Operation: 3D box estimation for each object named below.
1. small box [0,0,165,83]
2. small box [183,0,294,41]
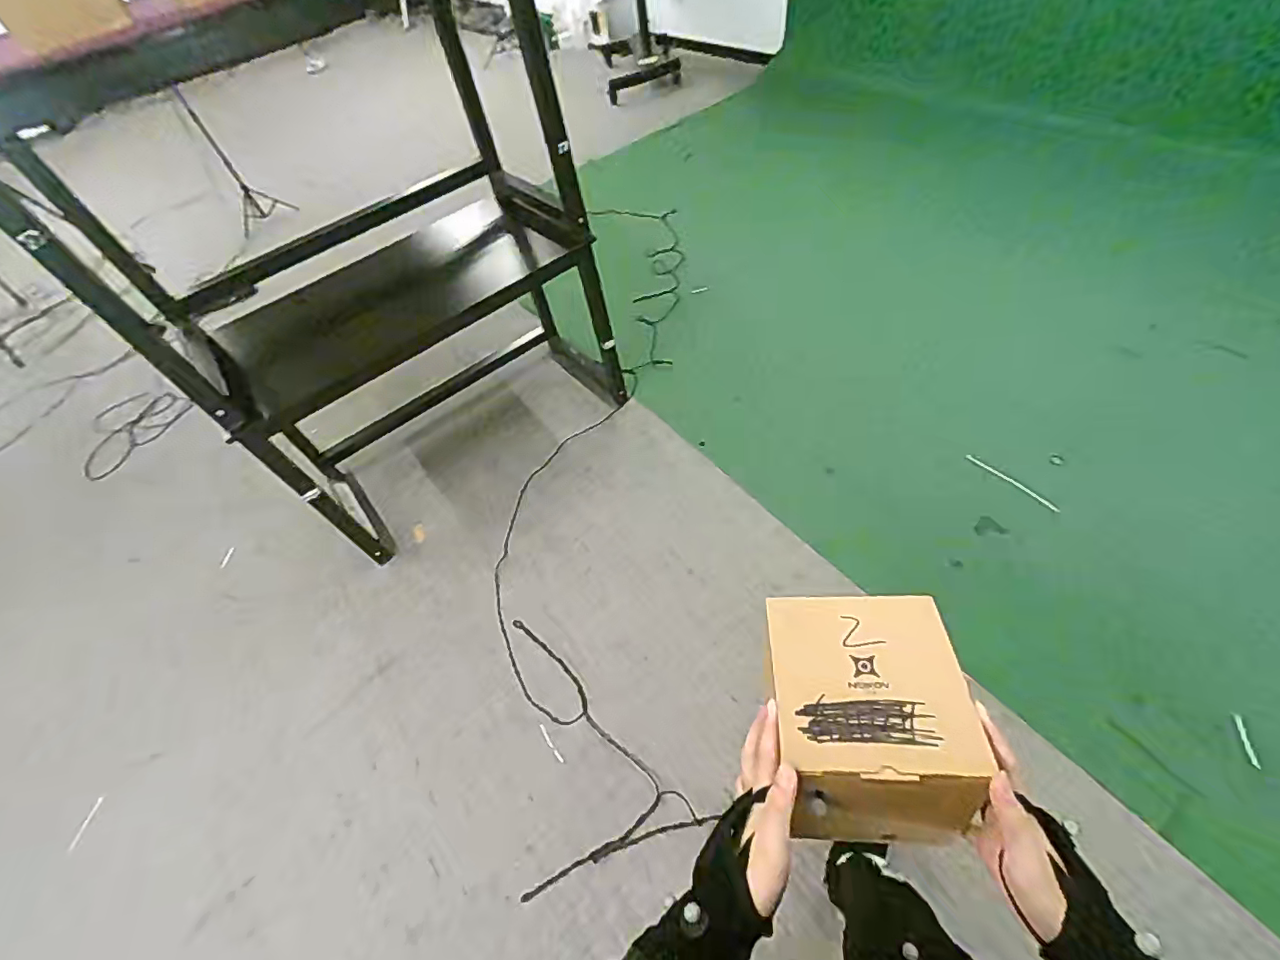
[{"bbox_3d":[-1.000,-0.832,0.956,0.179,0.176,0.168,-31,52,-15],"label":"small box"},{"bbox_3d":[-0.799,-0.974,1.031,0.179,0.176,0.168,-36,53,-16],"label":"small box"}]
